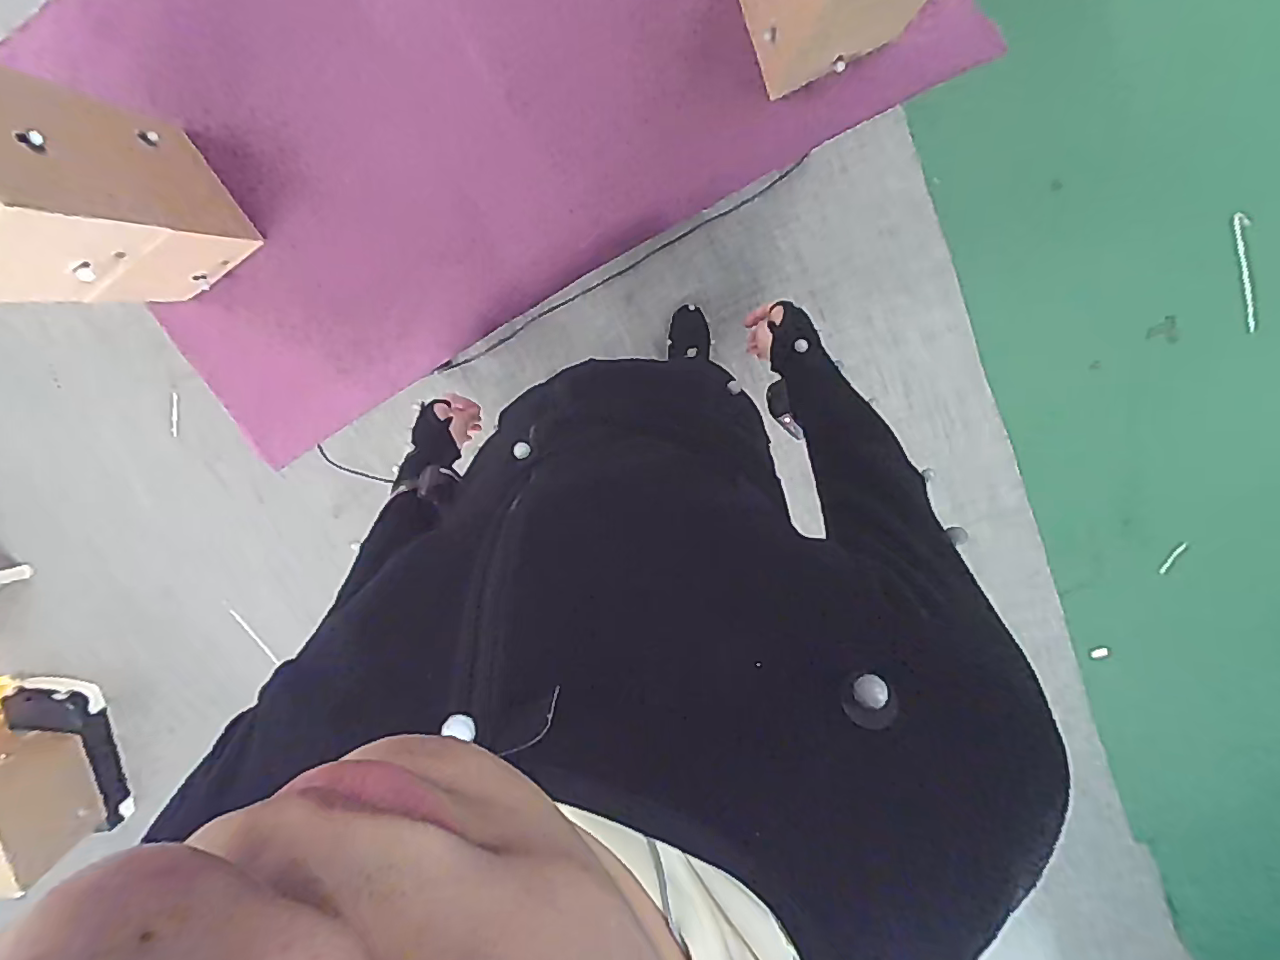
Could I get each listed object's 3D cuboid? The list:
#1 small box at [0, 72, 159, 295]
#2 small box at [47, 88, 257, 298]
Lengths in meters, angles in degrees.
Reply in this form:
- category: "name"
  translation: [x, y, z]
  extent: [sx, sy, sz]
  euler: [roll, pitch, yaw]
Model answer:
- category: "small box"
  translation: [-0.683, -0.307, 0.563]
  extent: [0.168, 0.176, 0.179]
  euler: [-29, 106, 13]
- category: "small box"
  translation: [-0.675, -0.359, 0.718]
  extent: [0.168, 0.176, 0.179]
  euler: [-29, 106, 12]
